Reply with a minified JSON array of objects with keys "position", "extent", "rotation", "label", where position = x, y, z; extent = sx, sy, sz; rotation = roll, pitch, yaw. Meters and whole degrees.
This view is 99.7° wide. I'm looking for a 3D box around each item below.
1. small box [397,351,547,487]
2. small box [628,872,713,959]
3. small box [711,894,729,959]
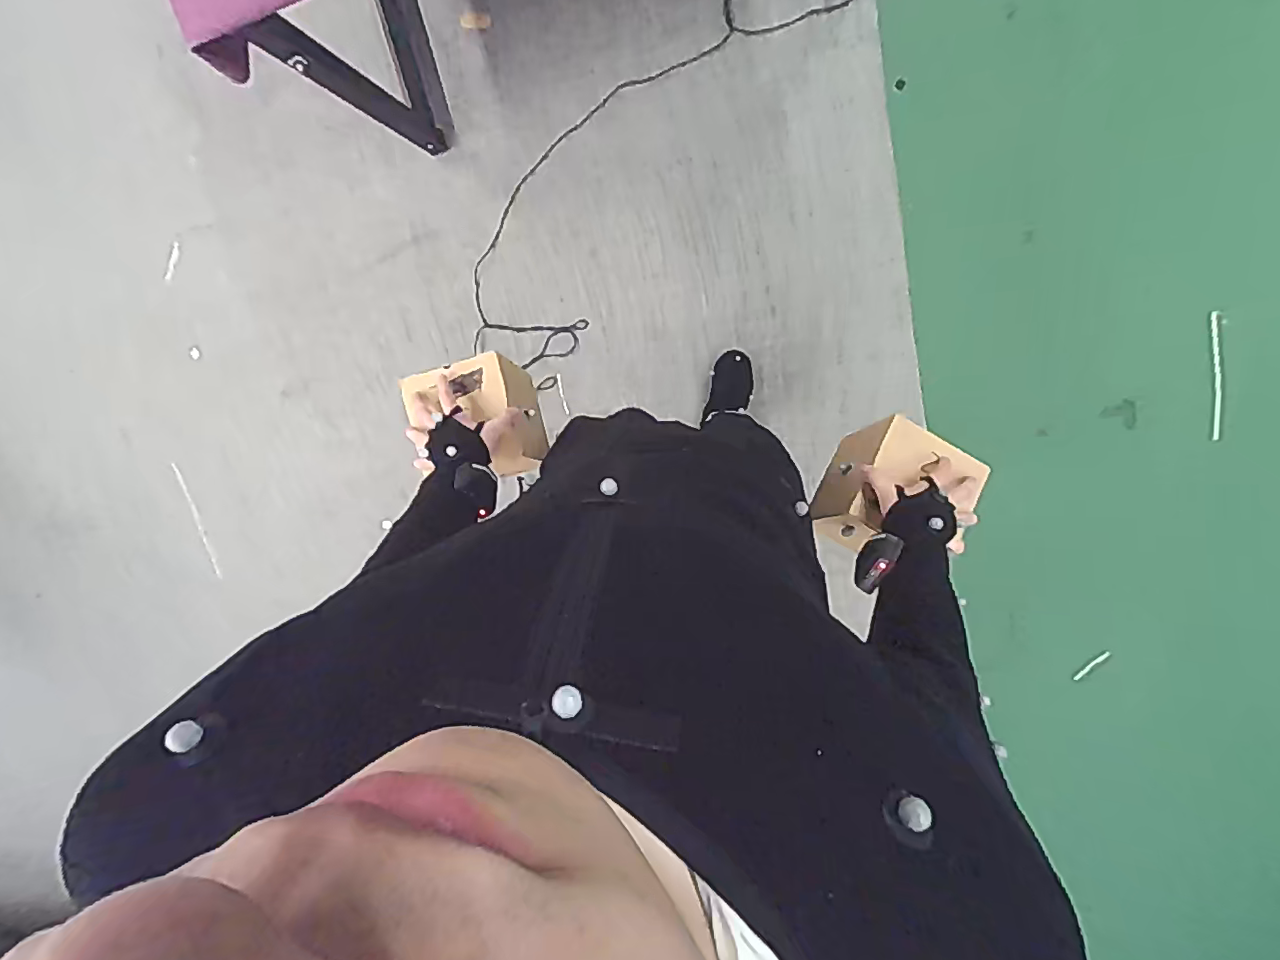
[{"position":[-0.274,-0.092,0.914],"extent":[0.168,0.176,0.179],"rotation":[-16,87,6],"label":"small box"},{"position":[0.072,1.010,1.192],"extent":[0.168,0.176,0.179],"rotation":[-1,103,11],"label":"small box"},{"position":[0.139,1.218,1.400],"extent":[0.168,0.176,0.179],"rotation":[-8,100,11],"label":"small box"}]
